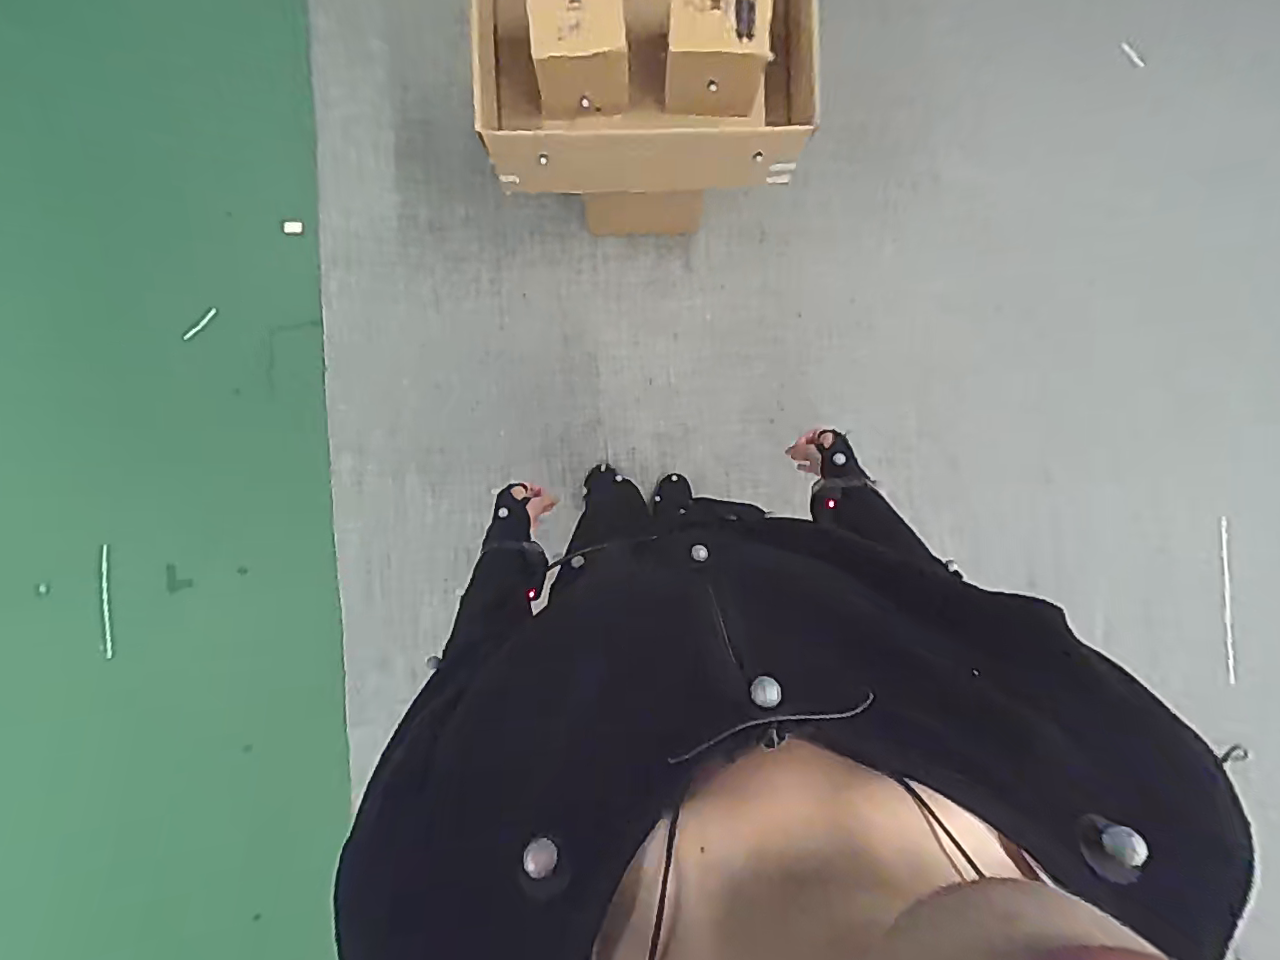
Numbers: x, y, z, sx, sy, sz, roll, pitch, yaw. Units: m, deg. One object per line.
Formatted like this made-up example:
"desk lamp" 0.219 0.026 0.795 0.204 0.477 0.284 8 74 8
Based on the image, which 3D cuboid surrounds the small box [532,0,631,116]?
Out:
"small box" -0.105 -0.820 1.002 0.168 0.176 0.179 -5 91 0
